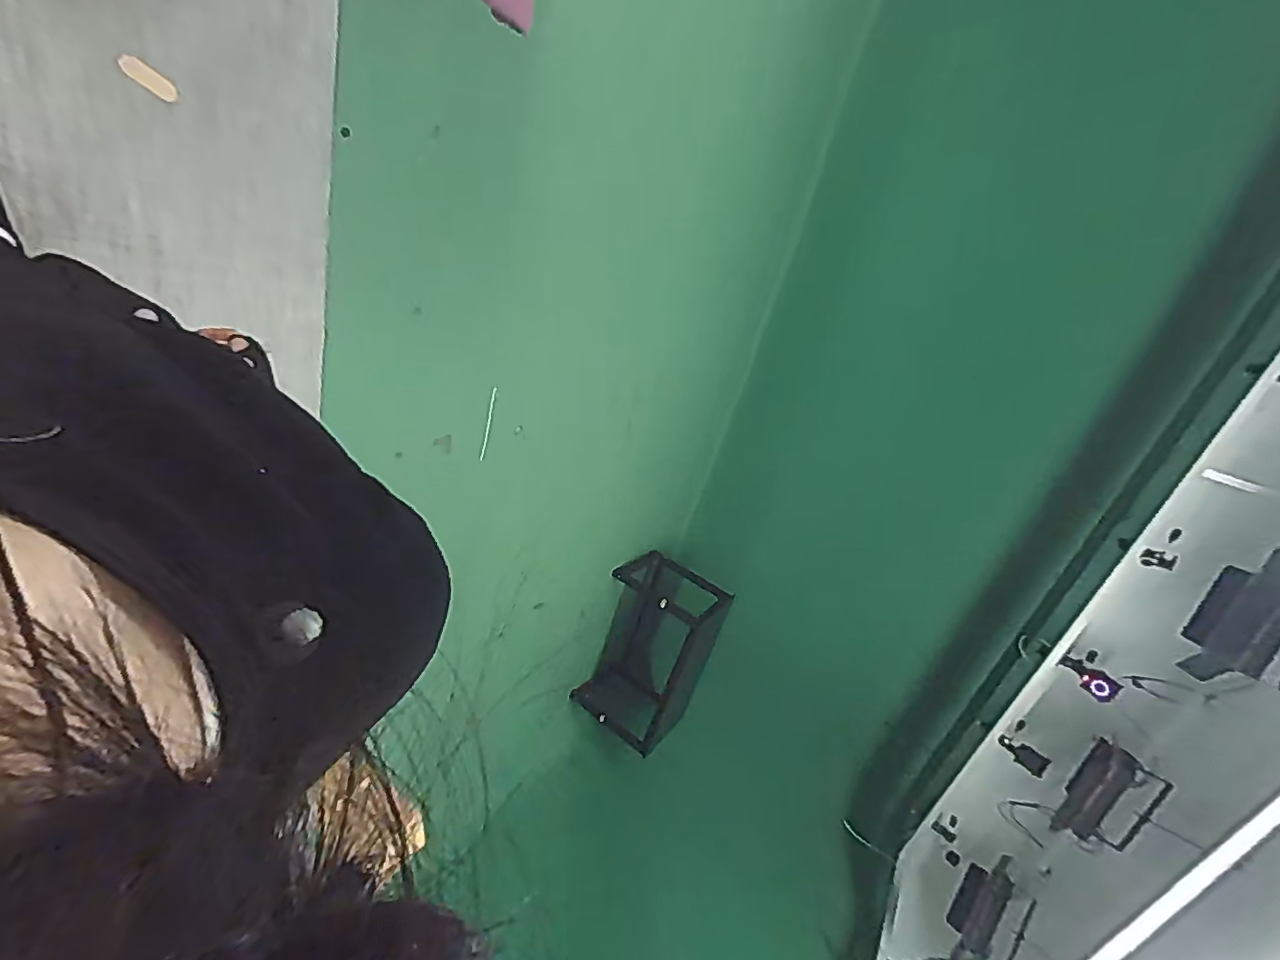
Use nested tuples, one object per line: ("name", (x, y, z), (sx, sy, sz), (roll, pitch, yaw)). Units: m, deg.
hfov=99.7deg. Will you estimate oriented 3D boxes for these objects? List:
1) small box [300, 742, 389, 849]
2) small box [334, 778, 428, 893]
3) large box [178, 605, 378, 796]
("small box", (-0.836, 0.882, 1.535), (0.168, 0.176, 0.179), (-29, 139, -48))
("small box", (-0.703, 0.953, 1.468), (0.168, 0.176, 0.179), (-30, 138, -47))
("large box", (-1.136, 0.687, 1.735), (0.408, 0.320, 0.320), (-36, 145, -45))
